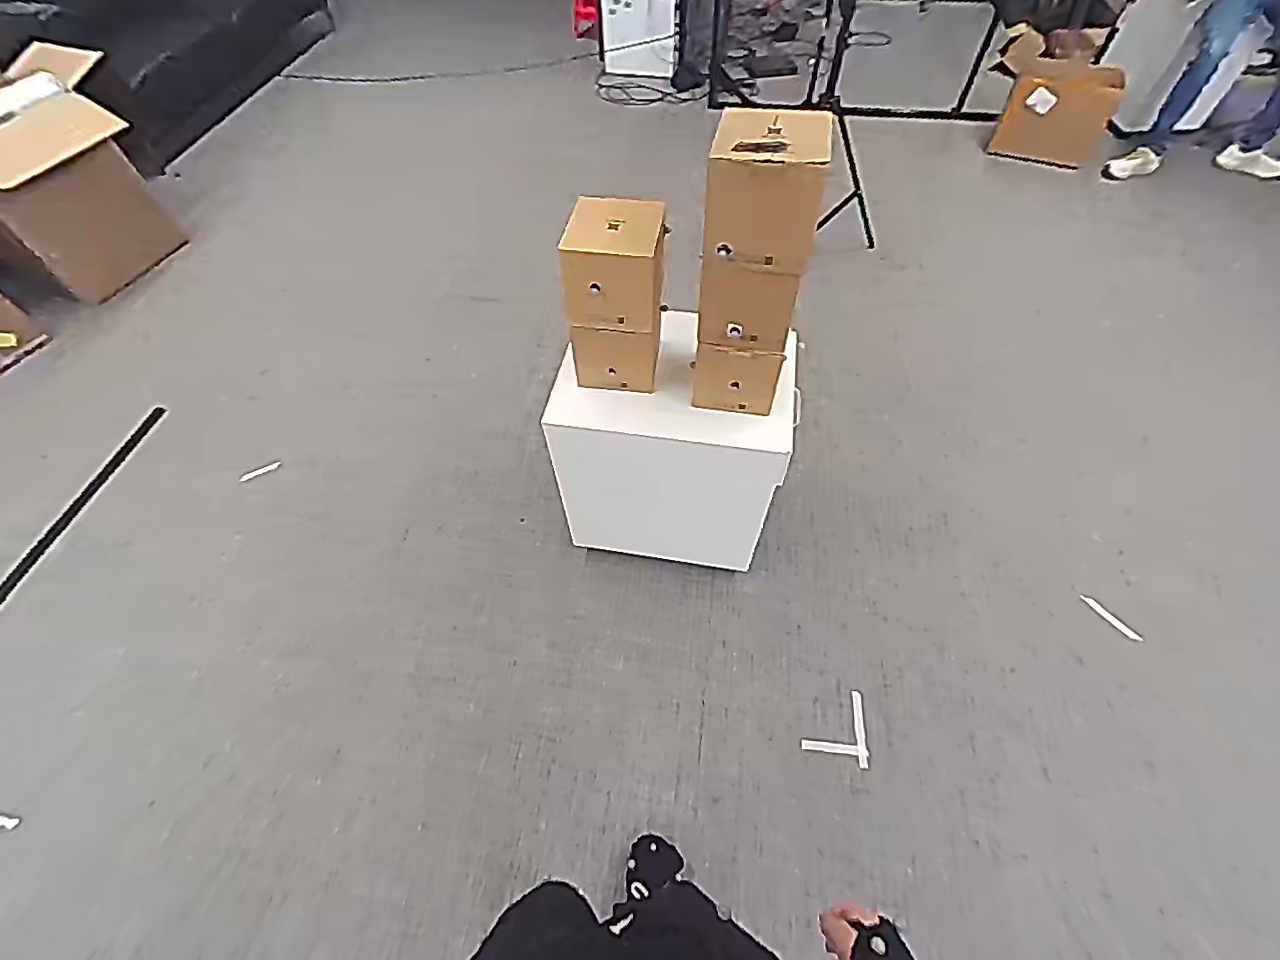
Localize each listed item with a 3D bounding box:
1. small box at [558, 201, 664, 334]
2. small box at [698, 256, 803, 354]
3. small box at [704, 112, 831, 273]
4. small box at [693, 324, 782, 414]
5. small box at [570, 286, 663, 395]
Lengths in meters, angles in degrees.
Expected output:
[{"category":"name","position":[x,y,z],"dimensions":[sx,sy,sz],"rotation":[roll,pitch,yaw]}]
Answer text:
[{"category":"small box","position":[-0.045,-0.397,1.019],"dimensions":[0.168,0.176,0.179],"rotation":[7,55,5]},{"category":"small box","position":[0.199,-0.356,0.985],"dimensions":[0.168,0.176,0.179],"rotation":[8,56,9]},{"category":"small box","position":[0.195,-0.448,0.848],"dimensions":[0.168,0.176,0.179],"rotation":[9,54,9]},{"category":"small box","position":[0.202,-0.256,1.114],"dimensions":[0.168,0.176,0.179],"rotation":[8,57,8]},{"category":"small box","position":[-0.044,-0.307,1.155],"dimensions":[0.168,0.176,0.179],"rotation":[6,56,5]}]
